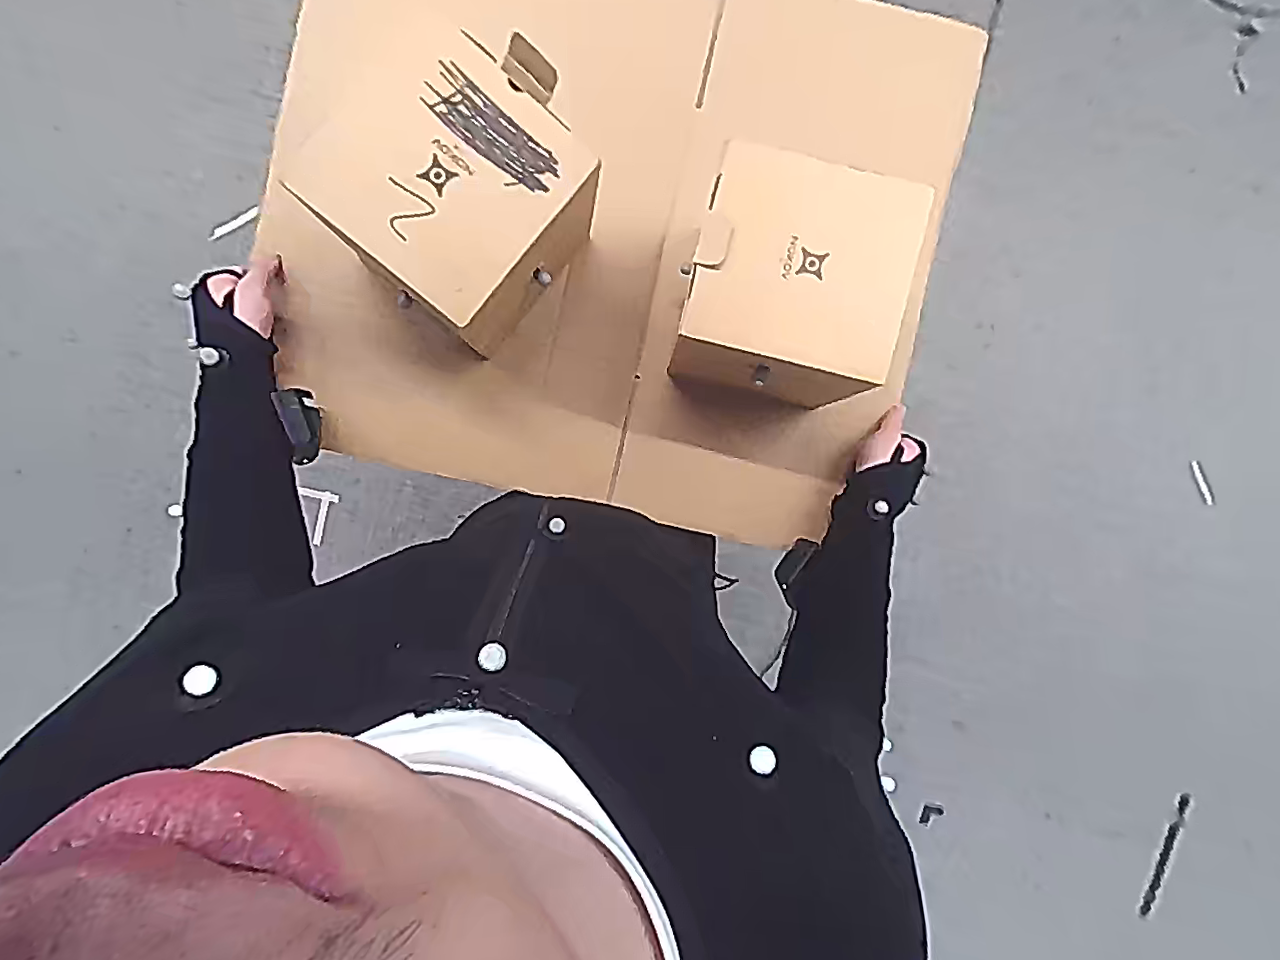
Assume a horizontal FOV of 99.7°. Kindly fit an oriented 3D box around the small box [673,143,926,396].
[{"bbox_3d":[0.137,-0.185,0.532,0.179,0.176,0.168,13,91,1],"label":"small box"}]
